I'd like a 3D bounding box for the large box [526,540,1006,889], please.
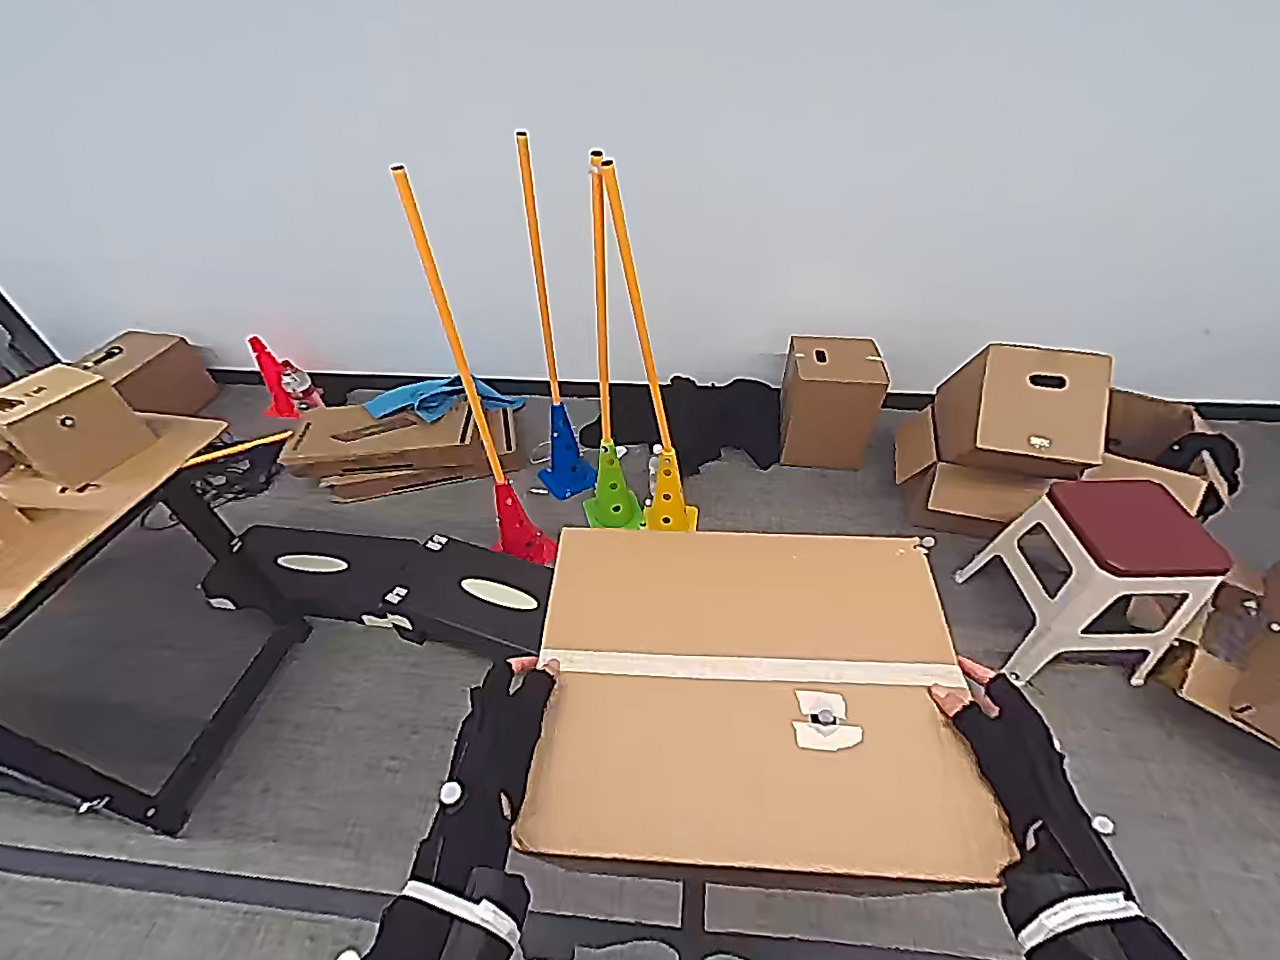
[{"bbox_3d":[0.110,0.287,0.653,0.408,0.320,0.320,2,52,4],"label":"large box"}]
